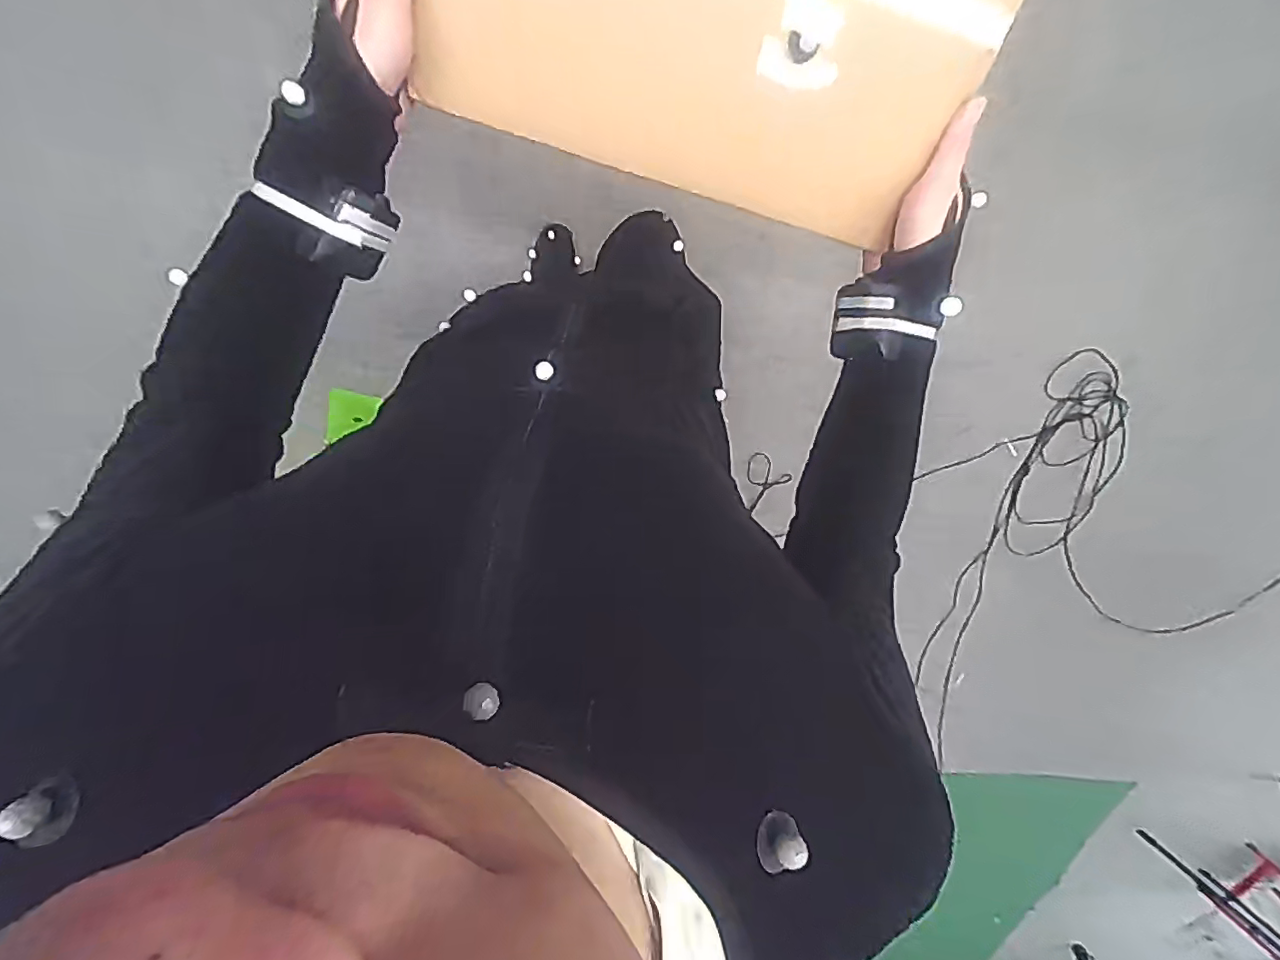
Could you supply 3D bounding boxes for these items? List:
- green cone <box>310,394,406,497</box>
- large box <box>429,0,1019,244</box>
[{"bbox_3d":[-0.771,-0.063,1.415,0.200,0.368,0.202,12,115,-12],"label":"green cone"},{"bbox_3d":[0.063,-0.452,0.470,0.408,0.320,0.320,11,129,-11],"label":"large box"}]
